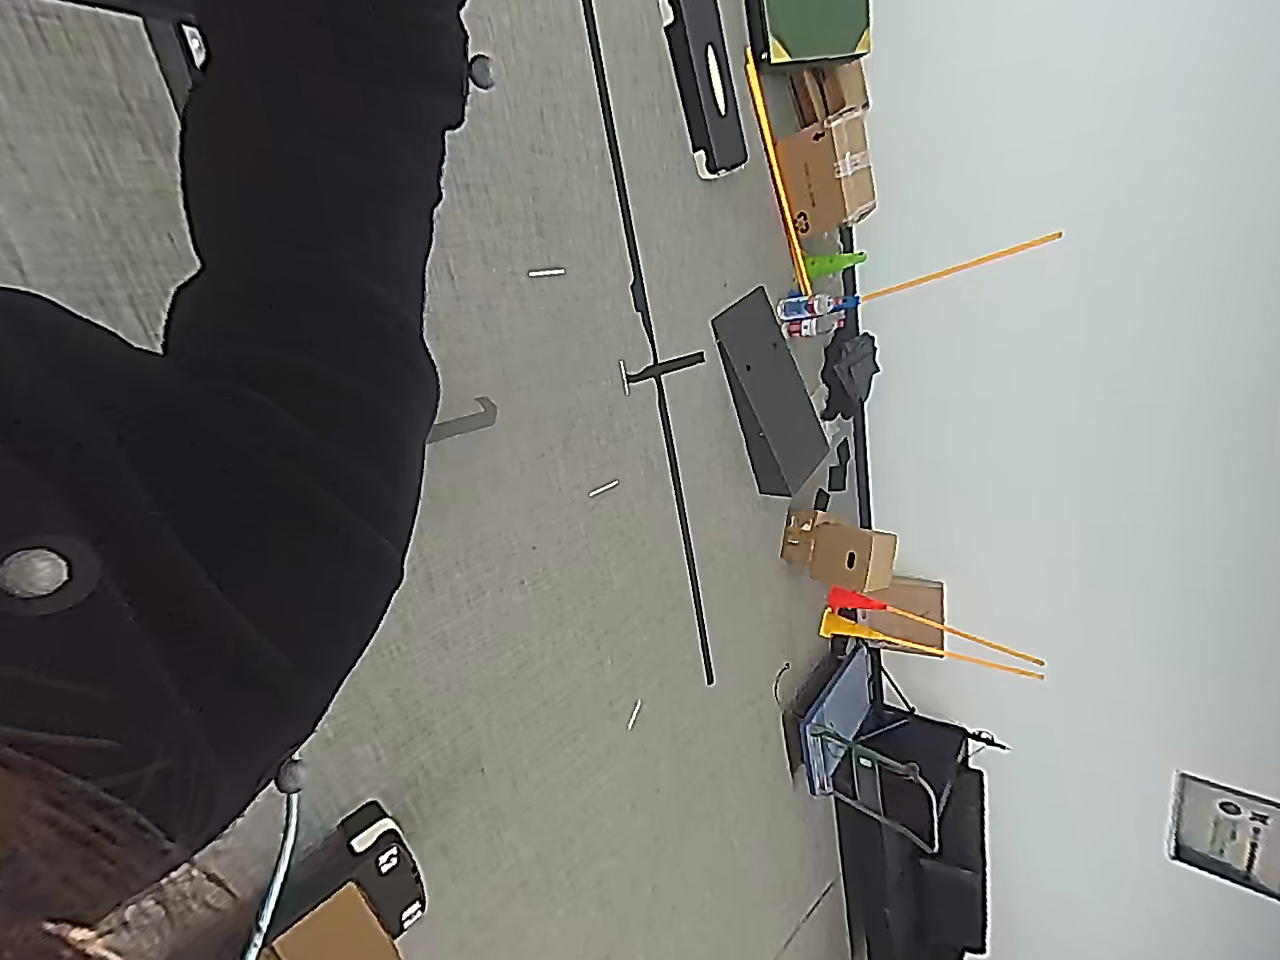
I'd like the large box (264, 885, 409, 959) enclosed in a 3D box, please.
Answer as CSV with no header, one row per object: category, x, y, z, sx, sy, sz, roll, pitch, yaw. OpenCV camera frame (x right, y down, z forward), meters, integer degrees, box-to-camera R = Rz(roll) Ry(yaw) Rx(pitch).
large box,-0.686,1.195,1.124,0.408,0.320,0.320,-26,112,-43

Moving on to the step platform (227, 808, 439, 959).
step platform,-0.844,1.145,1.301,0.684,0.204,0.286,-19,107,-45
